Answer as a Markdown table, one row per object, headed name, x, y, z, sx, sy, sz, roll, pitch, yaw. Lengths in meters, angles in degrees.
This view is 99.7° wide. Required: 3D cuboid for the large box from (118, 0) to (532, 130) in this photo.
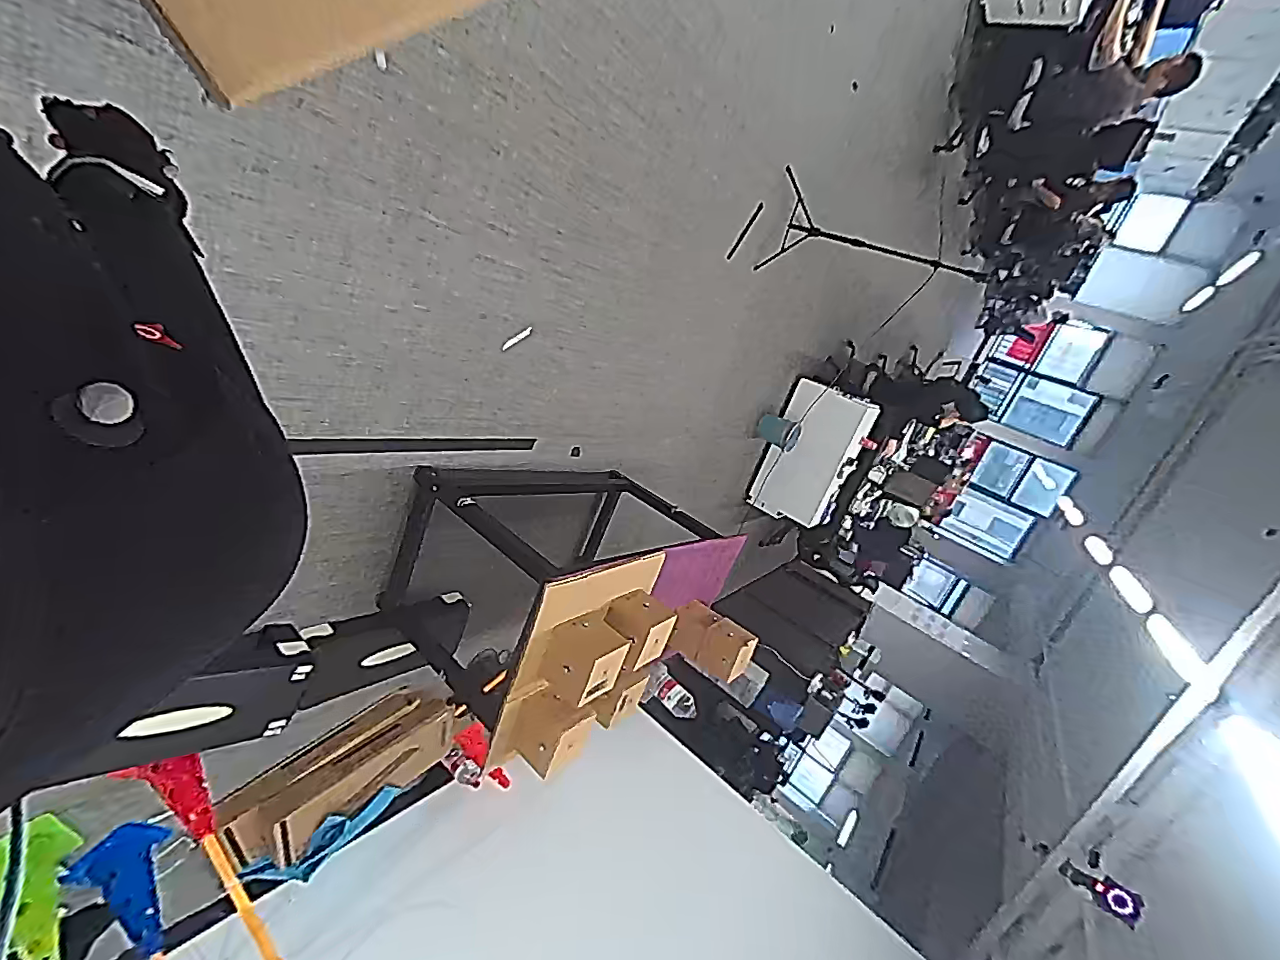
| name | x | y | z | sx | sy | sz | roll | pitch | yaw |
| --- | --- | --- | --- | --- | --- | --- | --- | --- | --- |
| large box | -0.346 | -0.544 | 0.483 | 0.320 | 0.408 | 0.320 | -33 | 133 | -15 |
